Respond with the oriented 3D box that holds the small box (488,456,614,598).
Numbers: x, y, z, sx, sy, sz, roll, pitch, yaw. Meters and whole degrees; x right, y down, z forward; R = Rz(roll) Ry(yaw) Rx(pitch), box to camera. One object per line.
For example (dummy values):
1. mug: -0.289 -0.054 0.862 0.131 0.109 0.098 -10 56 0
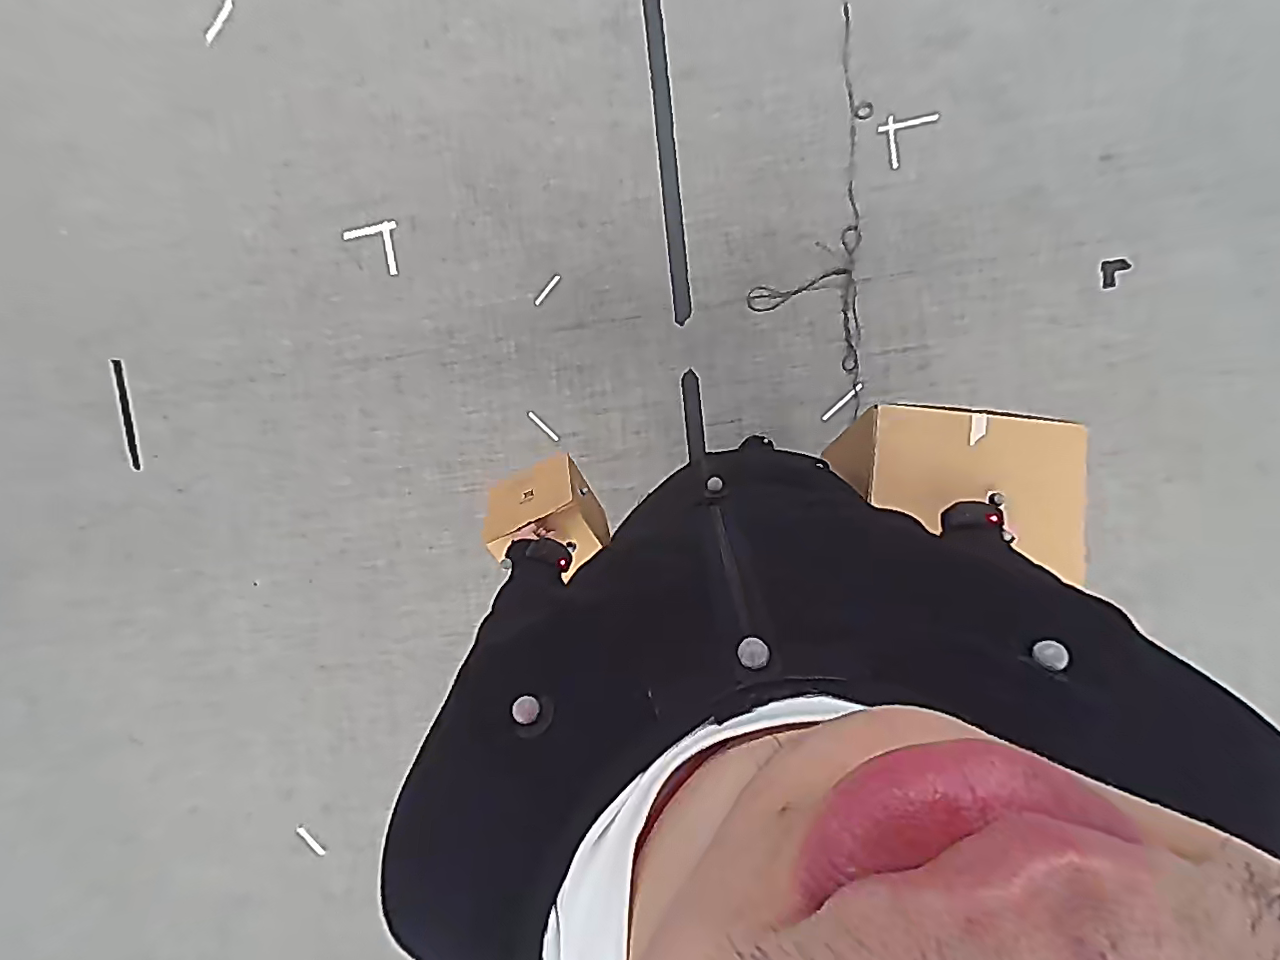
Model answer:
1. small box: -0.159 0.092 0.994 0.168 0.179 0.176 -25 121 4
